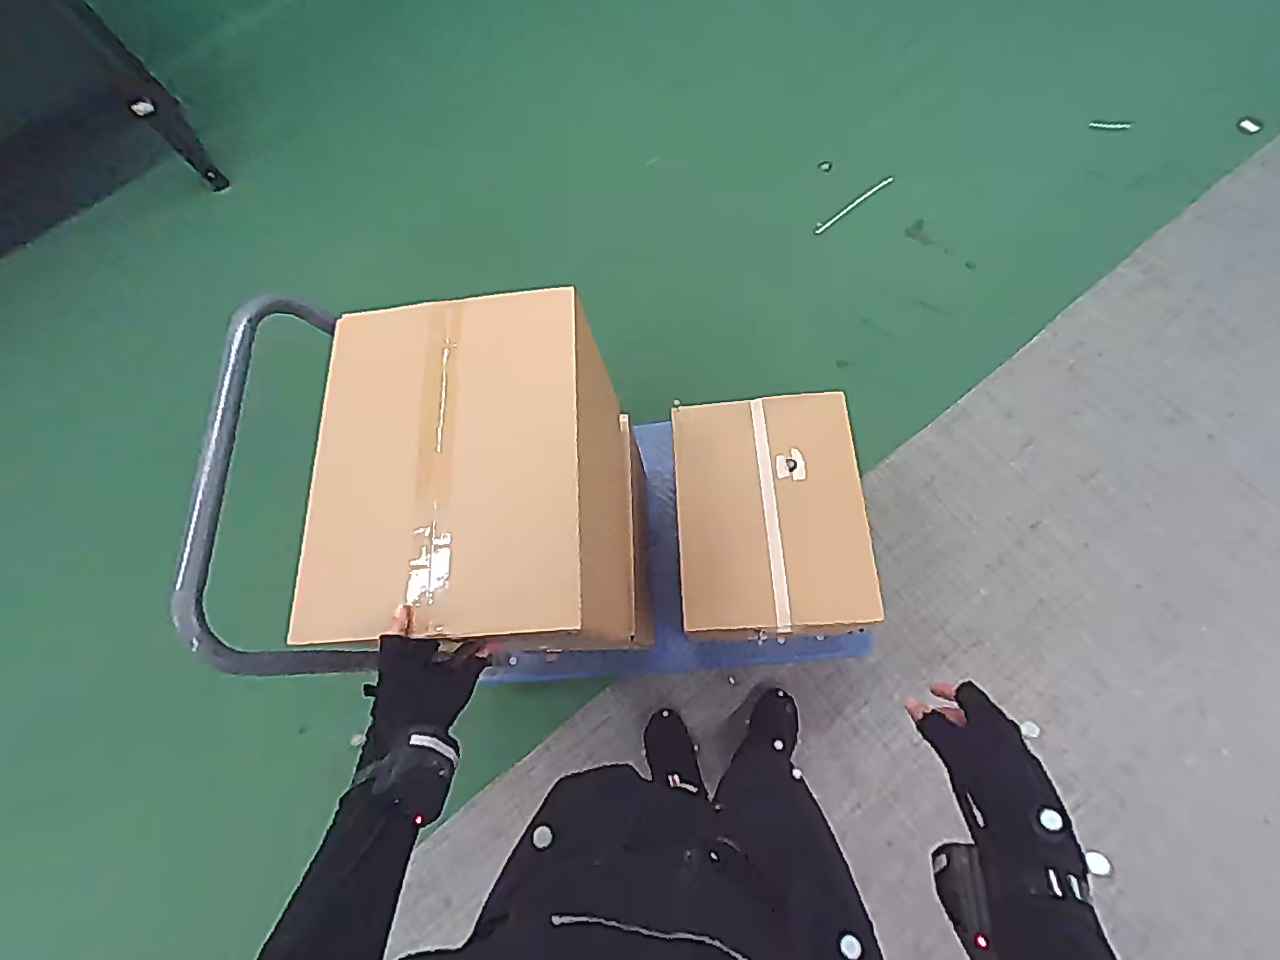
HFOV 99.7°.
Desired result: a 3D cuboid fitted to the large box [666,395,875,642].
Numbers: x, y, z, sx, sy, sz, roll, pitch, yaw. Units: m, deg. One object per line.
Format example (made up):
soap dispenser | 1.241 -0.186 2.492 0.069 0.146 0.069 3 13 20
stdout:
large box | 0.231 0.096 1.063 0.320 0.320 0.408 -4 70 7
